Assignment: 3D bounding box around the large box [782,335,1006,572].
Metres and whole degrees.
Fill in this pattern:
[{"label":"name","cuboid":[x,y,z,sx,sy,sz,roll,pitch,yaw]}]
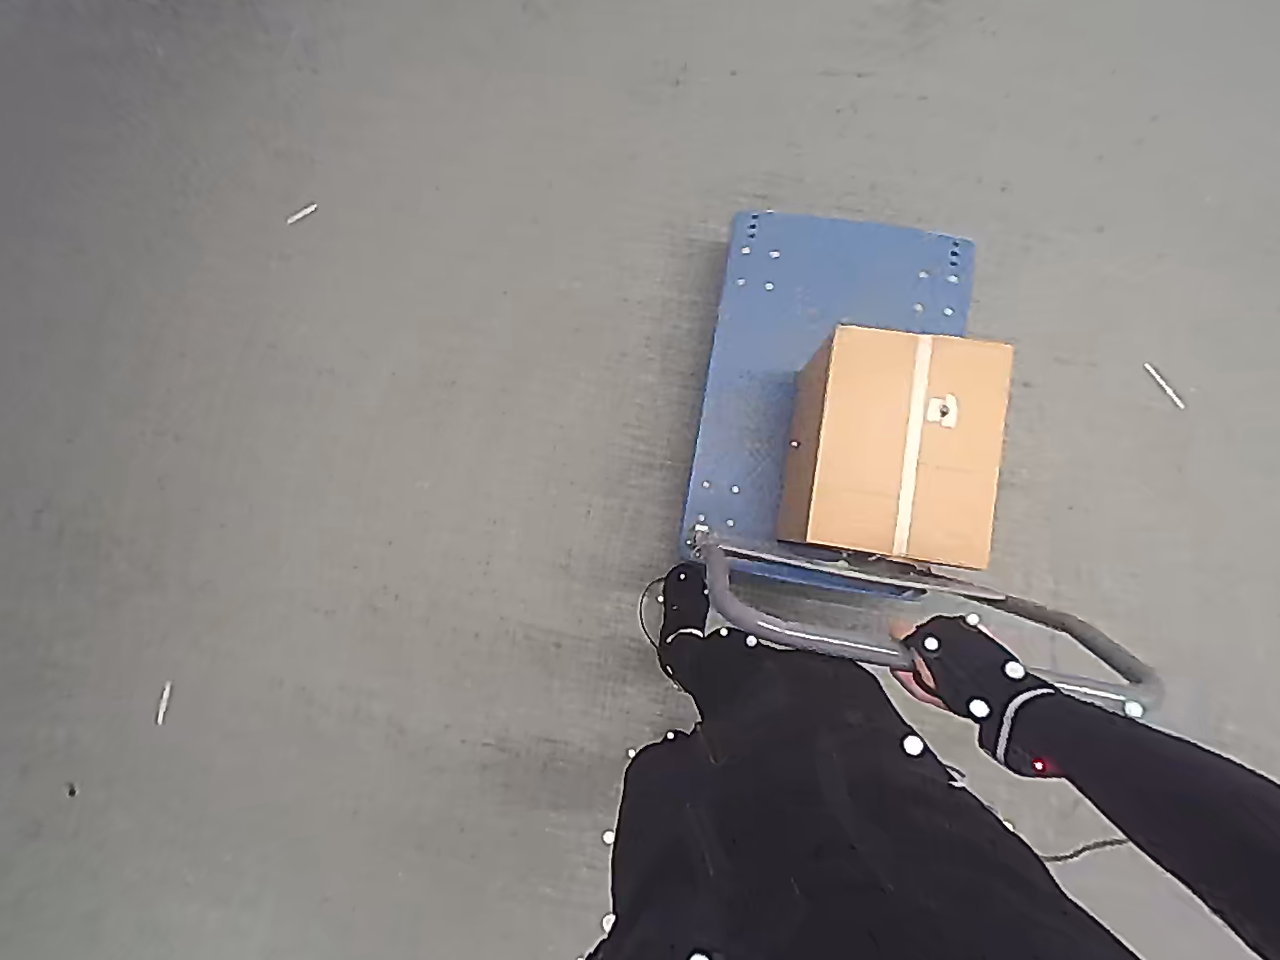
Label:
[{"label":"large box","cuboid":[0.494,-0.037,1.118,0.320,0.320,0.408,9,85,4]}]
